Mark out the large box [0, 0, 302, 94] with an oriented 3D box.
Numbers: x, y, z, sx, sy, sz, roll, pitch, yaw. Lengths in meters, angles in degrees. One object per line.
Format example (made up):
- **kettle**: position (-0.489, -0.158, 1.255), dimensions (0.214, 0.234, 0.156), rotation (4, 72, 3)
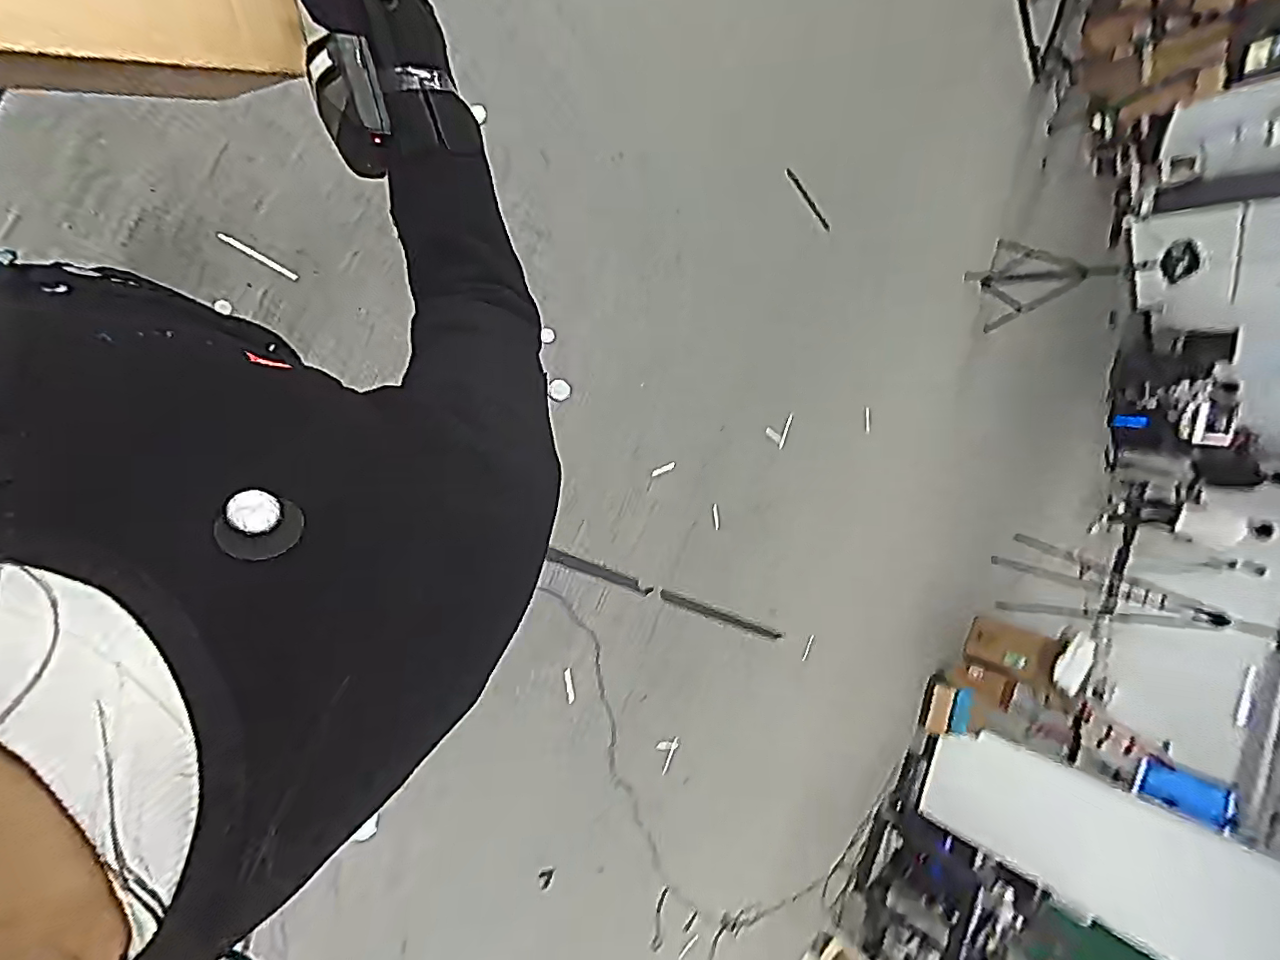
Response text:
- **large box**: position (-0.477, -0.405, 0.276), dimensions (0.408, 0.320, 0.320), rotation (-24, 130, -36)
